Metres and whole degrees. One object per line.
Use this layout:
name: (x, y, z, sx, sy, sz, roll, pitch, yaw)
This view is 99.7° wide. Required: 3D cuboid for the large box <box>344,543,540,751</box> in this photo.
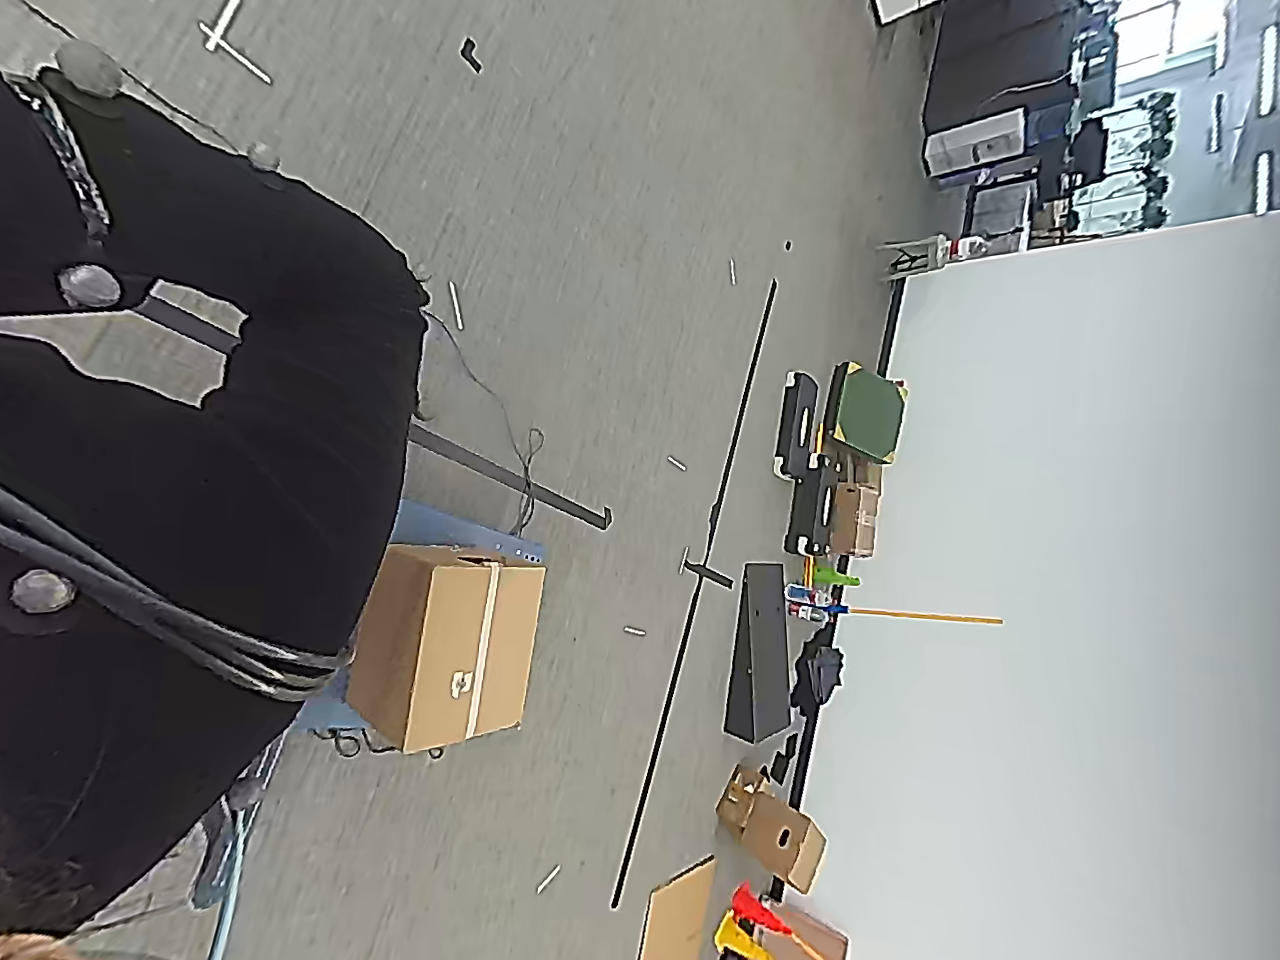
large box: (-0.491, 0.378, 1.346, 0.320, 0.320, 0.408, 12, 86, -49)
